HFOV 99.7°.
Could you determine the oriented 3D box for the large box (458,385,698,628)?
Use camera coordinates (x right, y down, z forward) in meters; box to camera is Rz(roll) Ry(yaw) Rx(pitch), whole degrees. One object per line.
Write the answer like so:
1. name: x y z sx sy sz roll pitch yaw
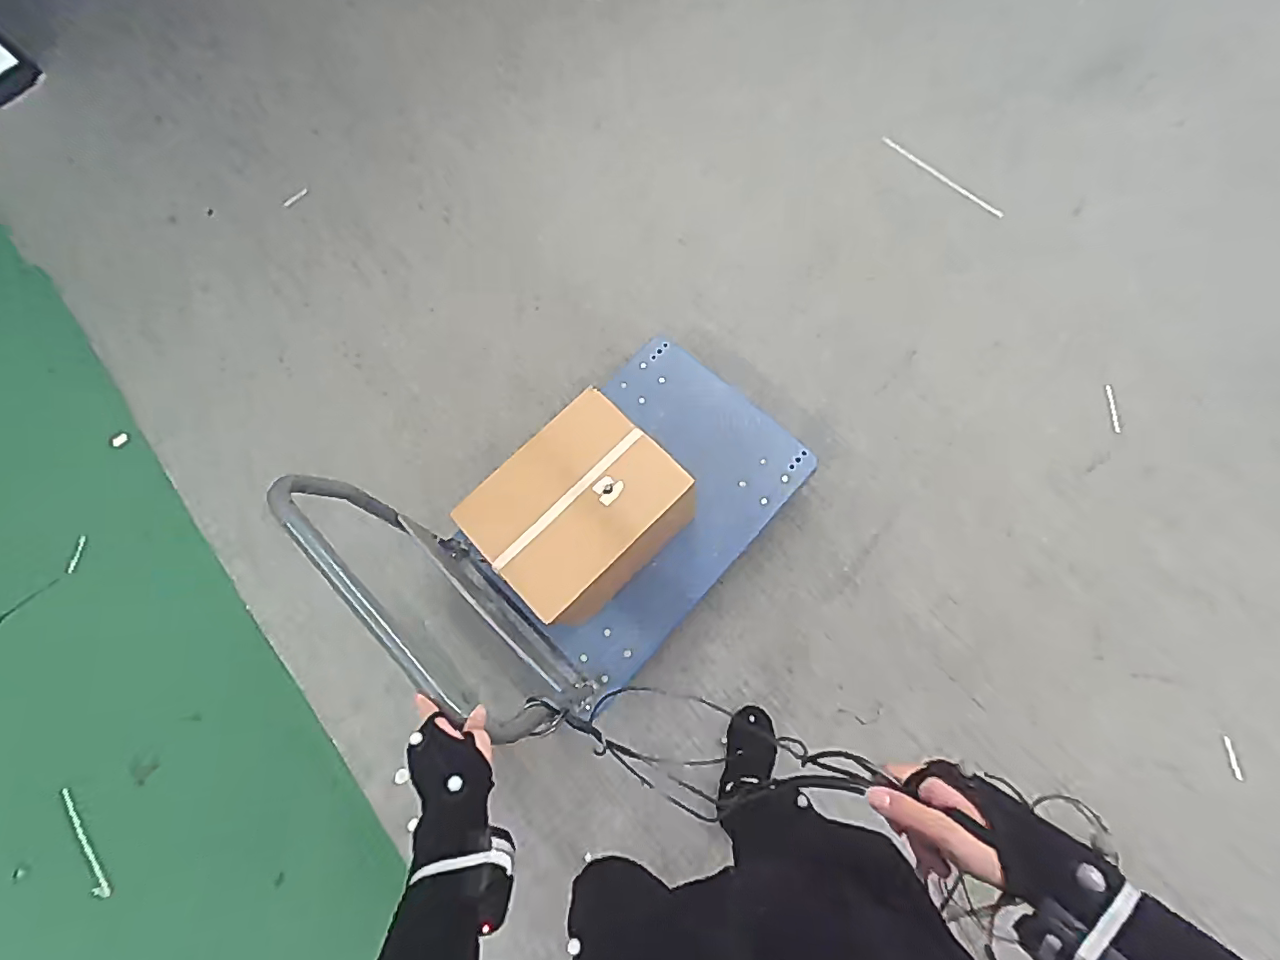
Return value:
1. large box: -0.115 0.077 1.219 0.408 0.320 0.320 -43 74 -8
